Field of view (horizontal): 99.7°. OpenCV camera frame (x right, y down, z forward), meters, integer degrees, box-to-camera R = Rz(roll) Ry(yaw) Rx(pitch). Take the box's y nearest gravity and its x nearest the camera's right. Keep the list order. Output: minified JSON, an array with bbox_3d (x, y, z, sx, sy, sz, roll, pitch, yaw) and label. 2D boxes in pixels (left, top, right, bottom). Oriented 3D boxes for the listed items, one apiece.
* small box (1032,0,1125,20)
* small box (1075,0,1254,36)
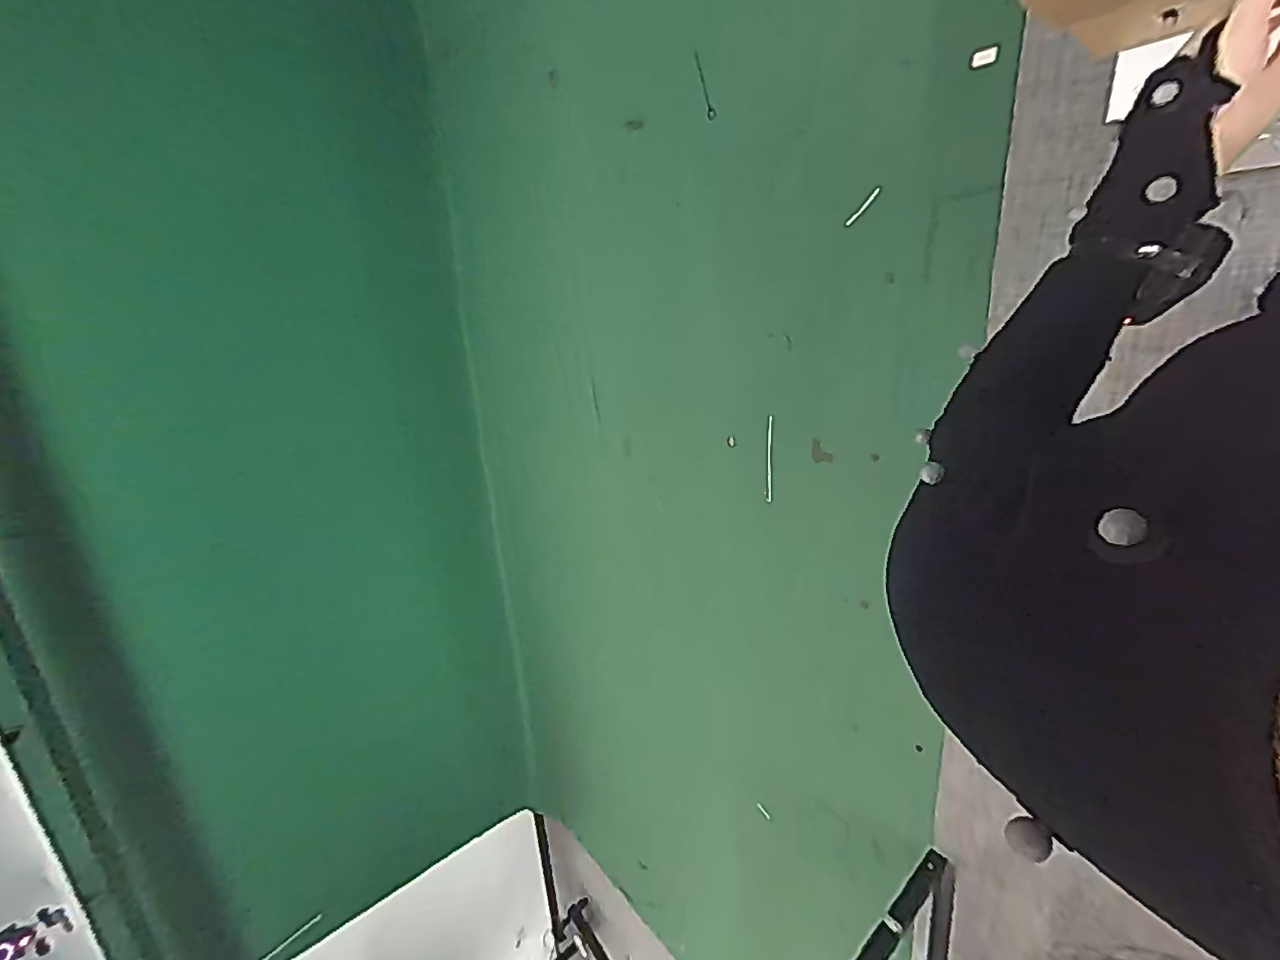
[{"bbox_3d":[0.420,-0.513,0.424,0.179,0.176,0.168,16,115,48],"label":"small box"},{"bbox_3d":[0.542,-0.566,0.519,0.168,0.176,0.179,17,116,45],"label":"small box"}]
